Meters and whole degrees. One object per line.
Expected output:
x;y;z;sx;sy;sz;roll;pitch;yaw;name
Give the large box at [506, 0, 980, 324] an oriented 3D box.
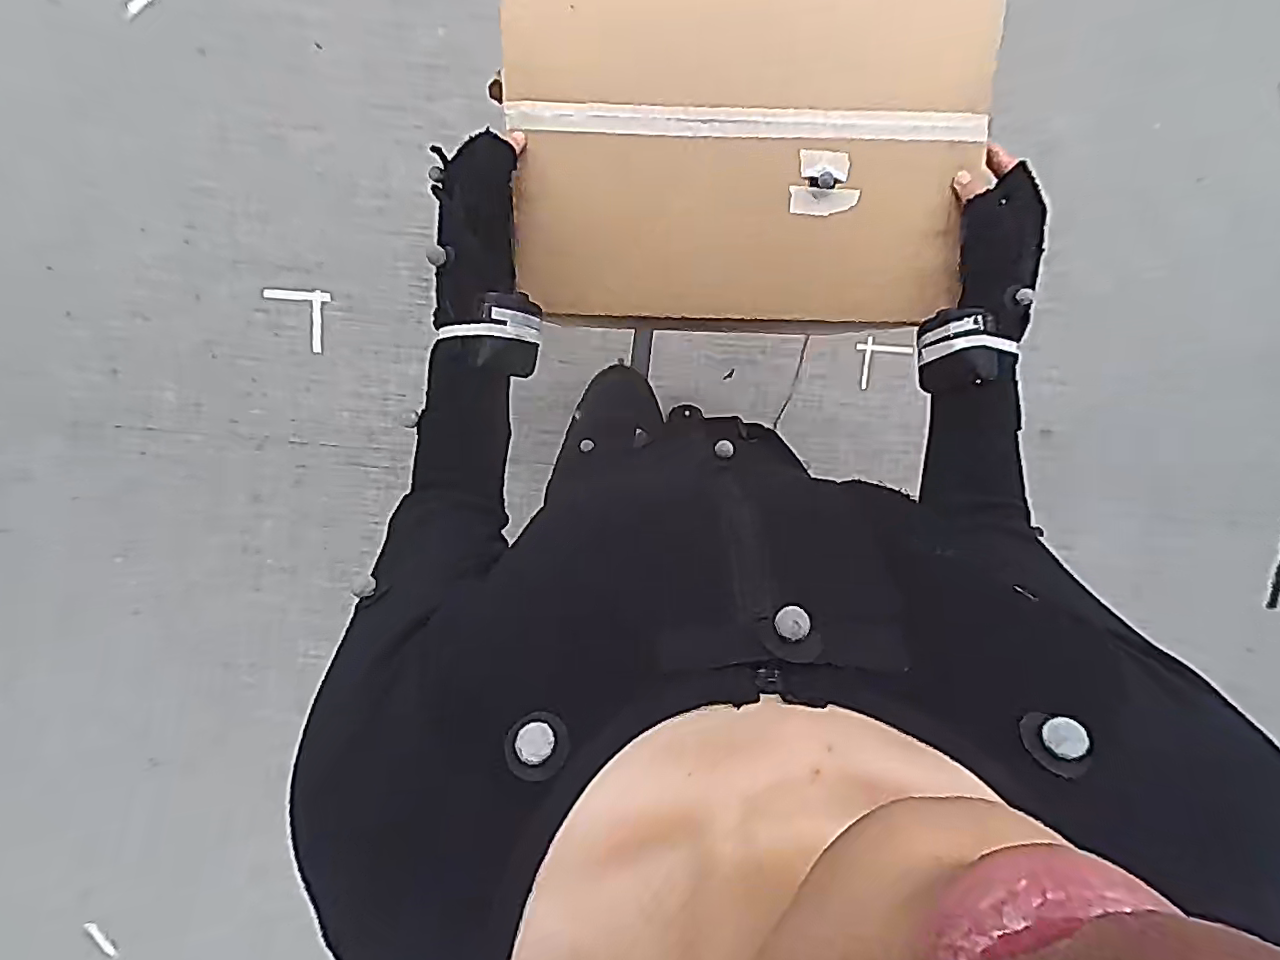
0.082;-0.348;0.616;0.408;0.320;0.320;0;104;-2;large box
